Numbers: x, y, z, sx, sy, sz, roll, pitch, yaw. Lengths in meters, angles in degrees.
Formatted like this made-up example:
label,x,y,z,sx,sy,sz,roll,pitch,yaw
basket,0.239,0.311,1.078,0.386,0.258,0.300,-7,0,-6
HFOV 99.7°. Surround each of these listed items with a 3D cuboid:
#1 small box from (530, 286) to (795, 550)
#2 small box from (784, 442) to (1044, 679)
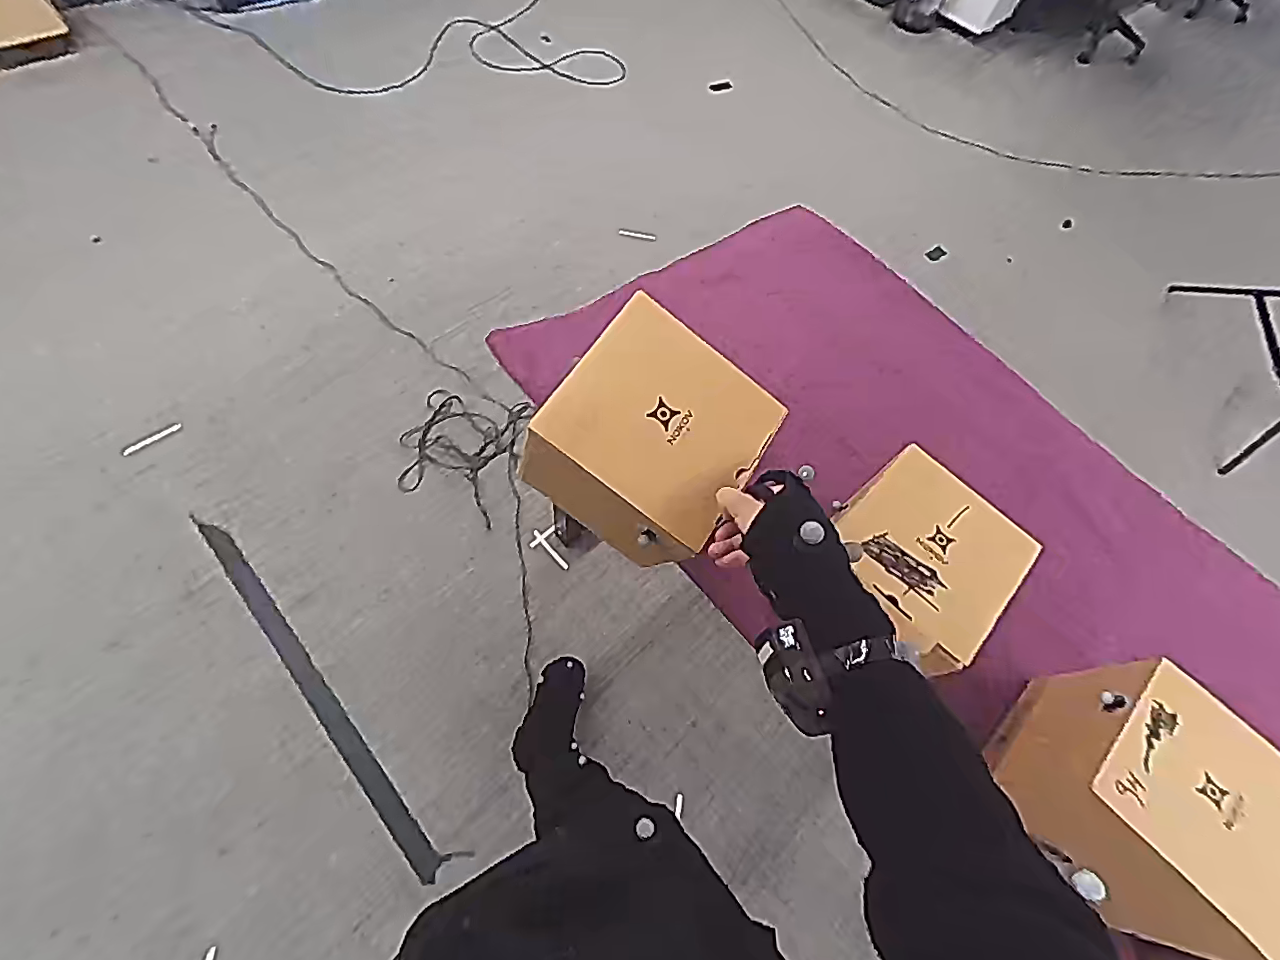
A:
label,x,y,z,sx,sy,sz,roll,pitch,yaw
small box,0.009,-0.044,0.535,0.179,0.176,0.168,38,71,-6
small box,0.286,0.098,0.607,0.179,0.176,0.168,-40,75,-24
